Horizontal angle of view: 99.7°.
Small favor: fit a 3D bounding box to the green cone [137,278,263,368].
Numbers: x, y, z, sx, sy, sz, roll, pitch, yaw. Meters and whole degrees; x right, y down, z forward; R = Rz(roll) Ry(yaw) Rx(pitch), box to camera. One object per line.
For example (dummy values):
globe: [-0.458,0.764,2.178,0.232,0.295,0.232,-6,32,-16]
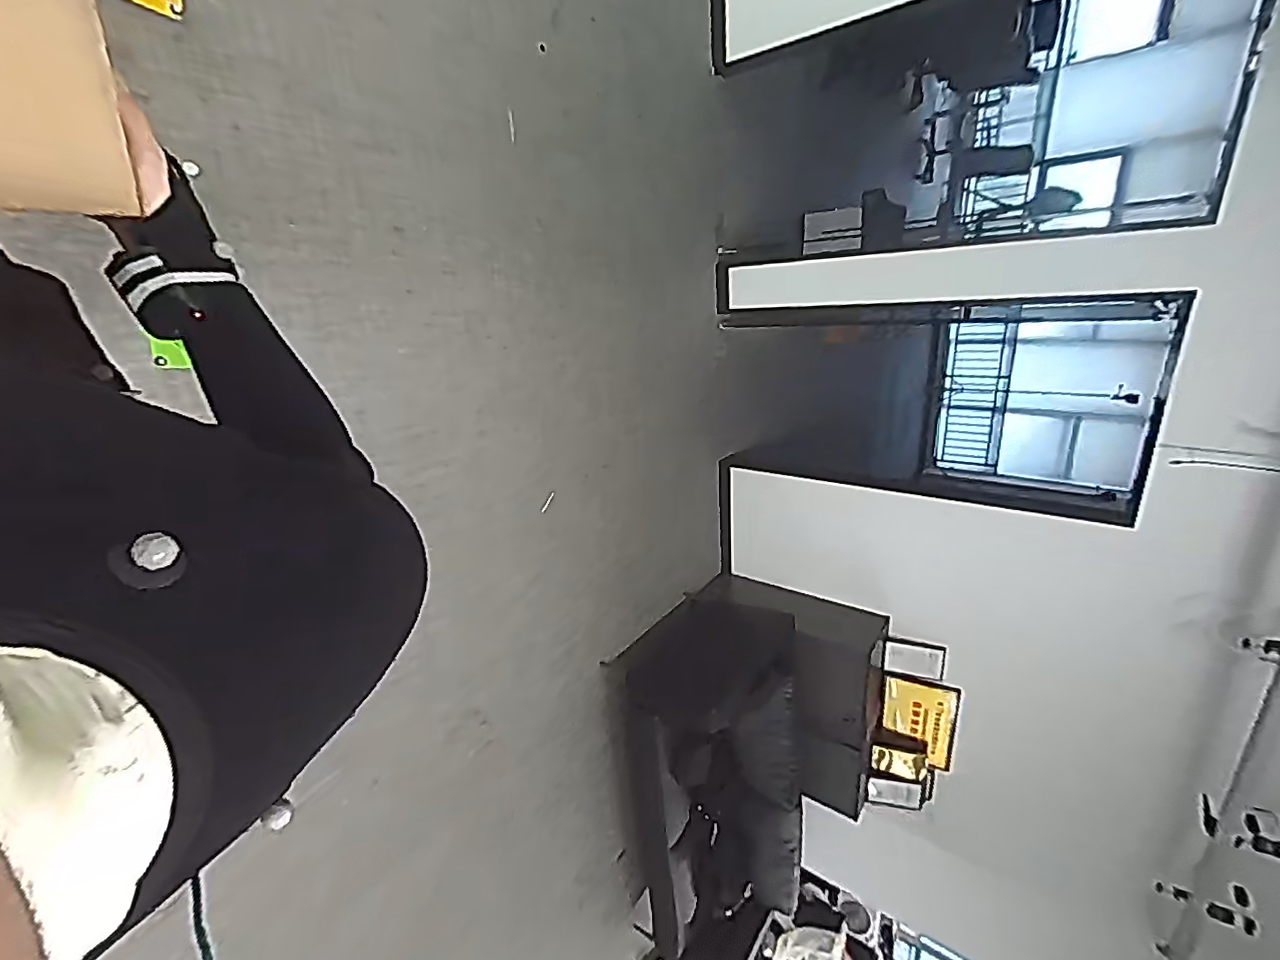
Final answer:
green cone: [-0.924,-0.352,1.198,0.200,0.368,0.202,-18,112,-51]
